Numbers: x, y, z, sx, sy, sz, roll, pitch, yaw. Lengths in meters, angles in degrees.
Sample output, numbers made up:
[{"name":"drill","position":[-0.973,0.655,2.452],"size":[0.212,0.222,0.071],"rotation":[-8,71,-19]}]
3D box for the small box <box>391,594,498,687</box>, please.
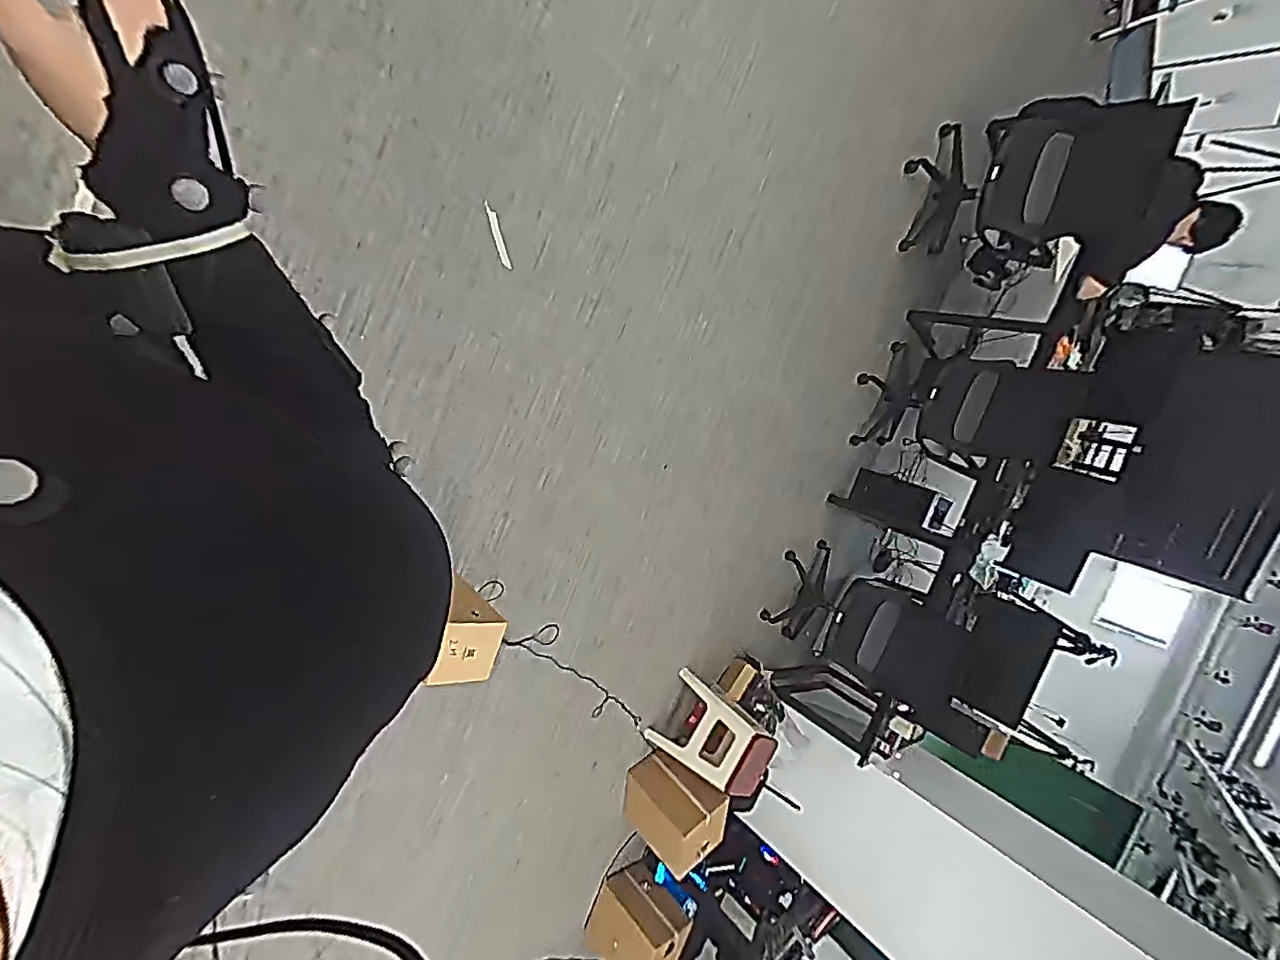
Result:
[{"name":"small box","position":[-0.501,0.403,1.381],"size":[0.179,0.176,0.168],"rotation":[17,95,-47]}]
